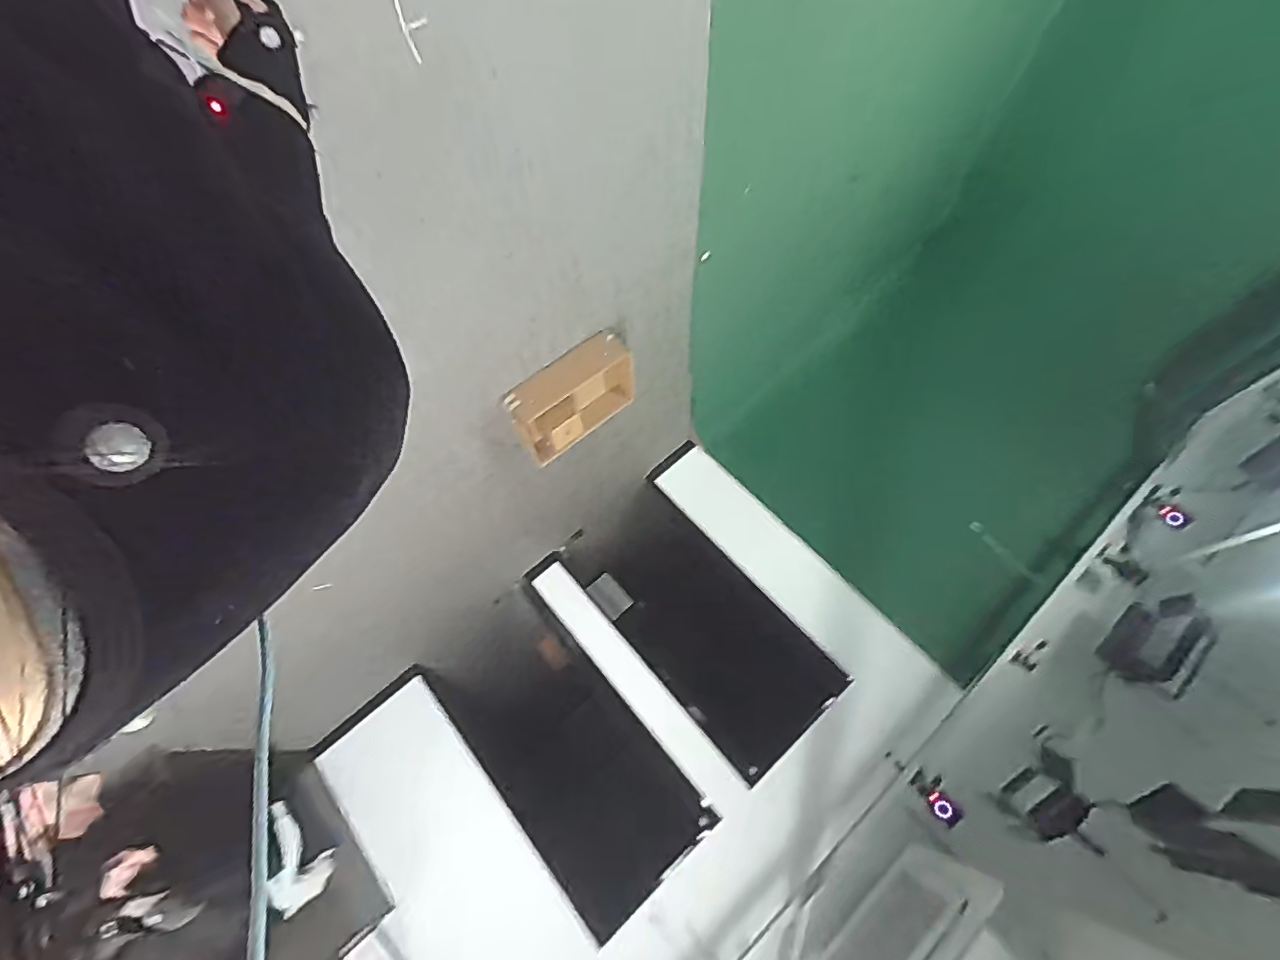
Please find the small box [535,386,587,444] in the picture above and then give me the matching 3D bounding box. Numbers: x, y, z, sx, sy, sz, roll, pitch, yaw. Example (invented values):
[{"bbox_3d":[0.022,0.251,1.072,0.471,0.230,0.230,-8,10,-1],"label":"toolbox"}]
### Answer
[{"bbox_3d":[-0.371,-0.308,2.551,0.168,0.176,0.179,-39,158,-16],"label":"small box"}]
